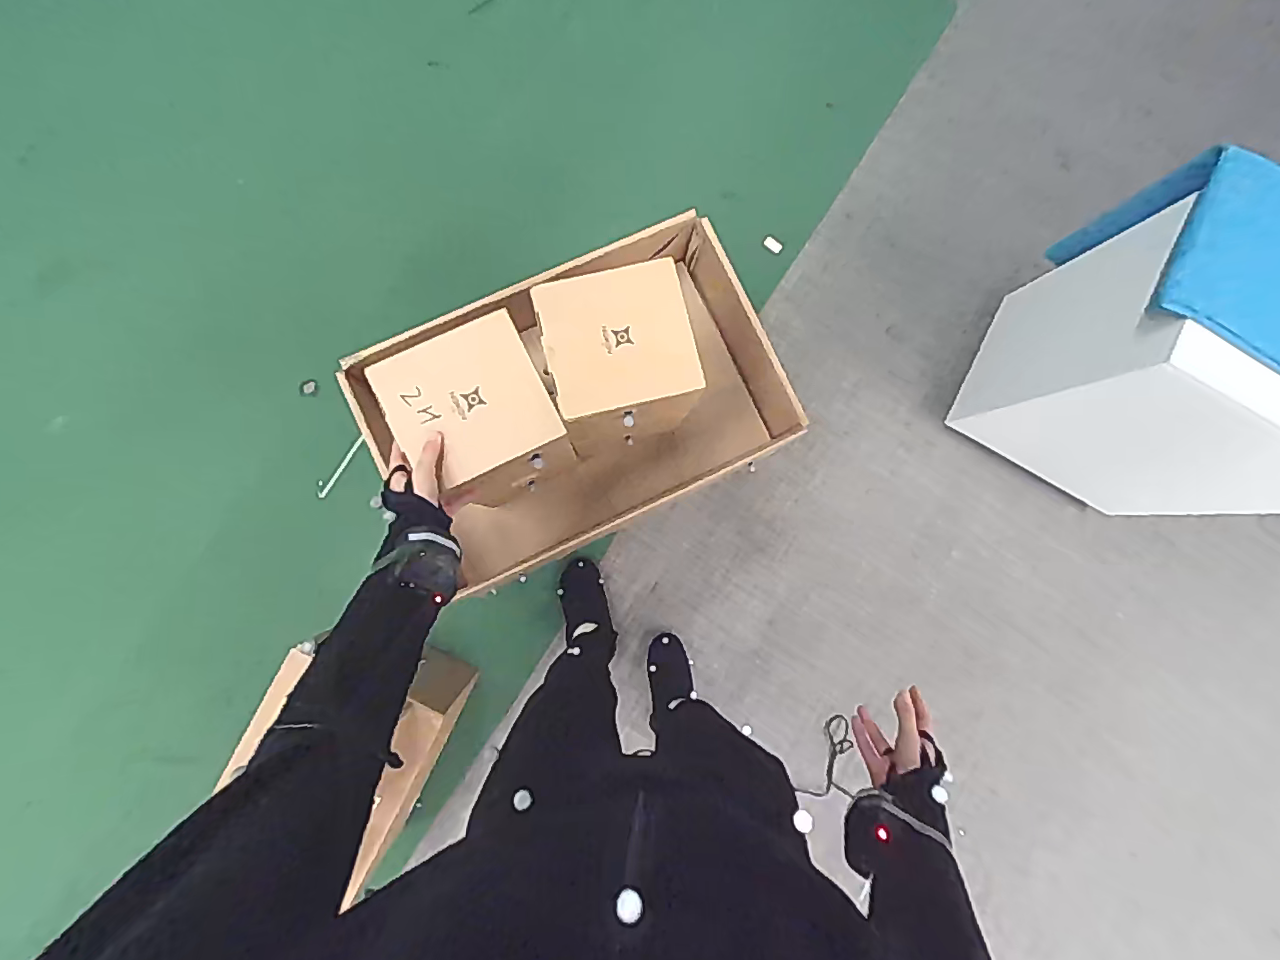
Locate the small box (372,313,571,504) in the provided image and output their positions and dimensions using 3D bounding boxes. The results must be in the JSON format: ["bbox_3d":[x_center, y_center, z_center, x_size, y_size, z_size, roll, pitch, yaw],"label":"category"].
[{"bbox_3d":[-0.199,-0.080,0.693,0.179,0.176,0.168,-26,86,-7],"label":"small box"}]

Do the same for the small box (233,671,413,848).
[{"bbox_3d":[-0.510,0.451,0.901,0.168,0.176,0.179,27,83,-3],"label":"small box"}]
